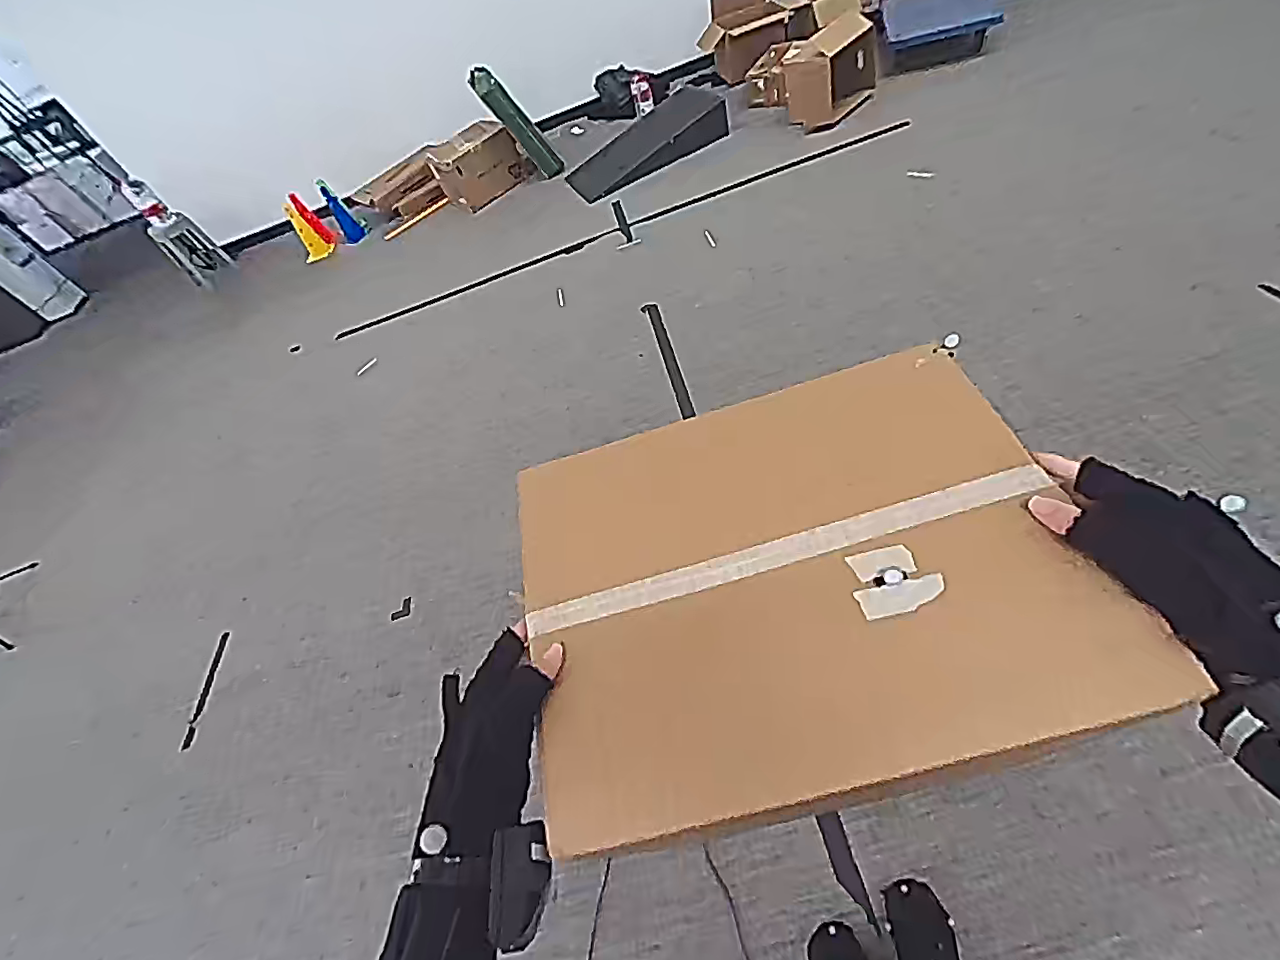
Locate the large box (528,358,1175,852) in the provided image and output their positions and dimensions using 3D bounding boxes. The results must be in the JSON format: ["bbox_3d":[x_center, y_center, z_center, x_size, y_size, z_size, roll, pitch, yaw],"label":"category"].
[{"bbox_3d":[0.141,0.145,0.546,0.408,0.320,0.320,-17,55,4],"label":"large box"}]
